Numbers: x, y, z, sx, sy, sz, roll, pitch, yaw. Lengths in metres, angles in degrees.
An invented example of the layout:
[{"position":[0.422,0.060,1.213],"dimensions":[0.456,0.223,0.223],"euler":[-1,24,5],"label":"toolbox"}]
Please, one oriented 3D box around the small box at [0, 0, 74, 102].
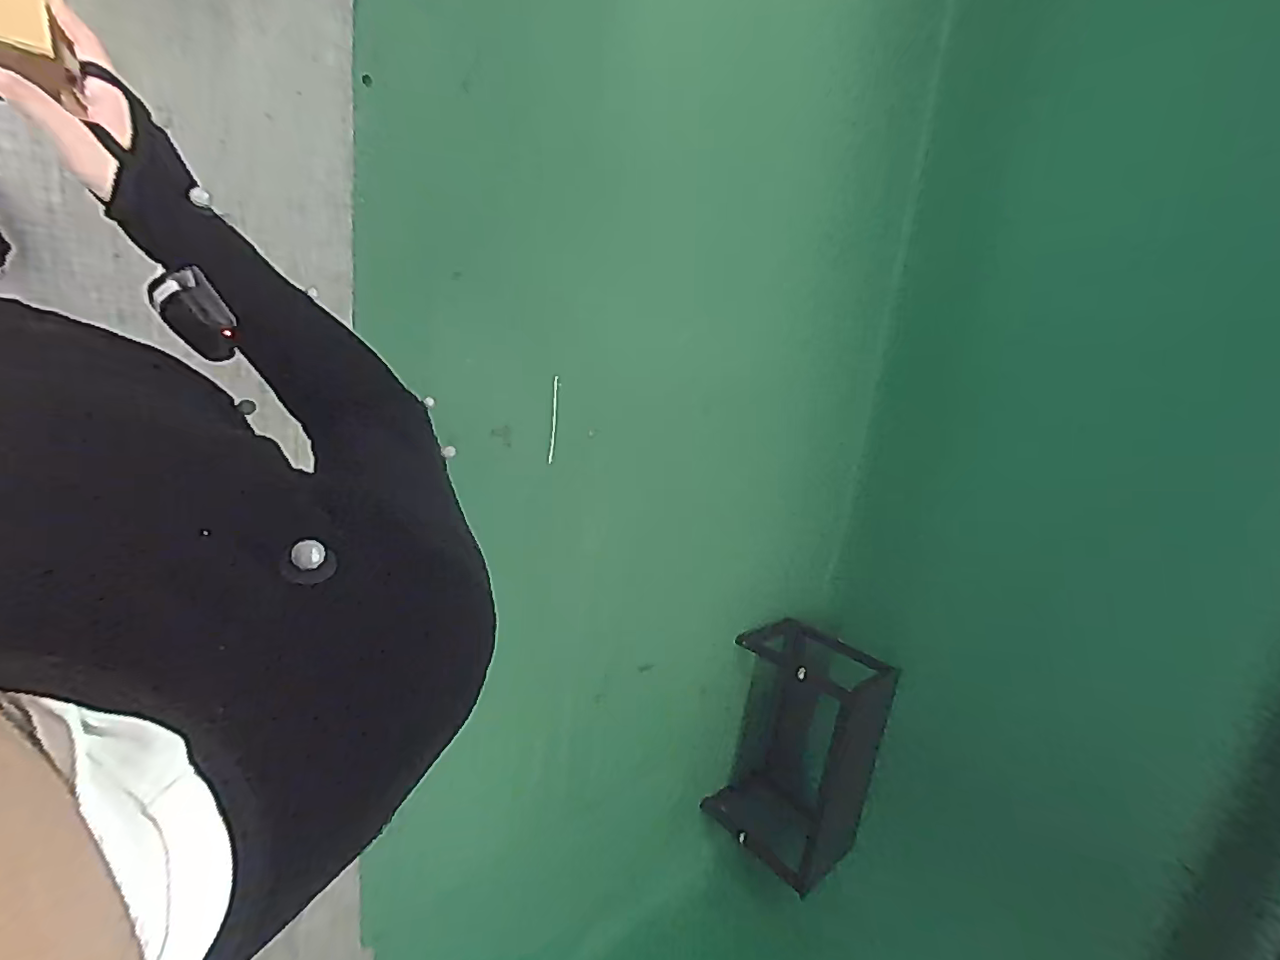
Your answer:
[{"position":[-0.550,-0.423,0.397],"dimensions":[0.168,0.176,0.179],"euler":[-6,107,-41],"label":"small box"}]
